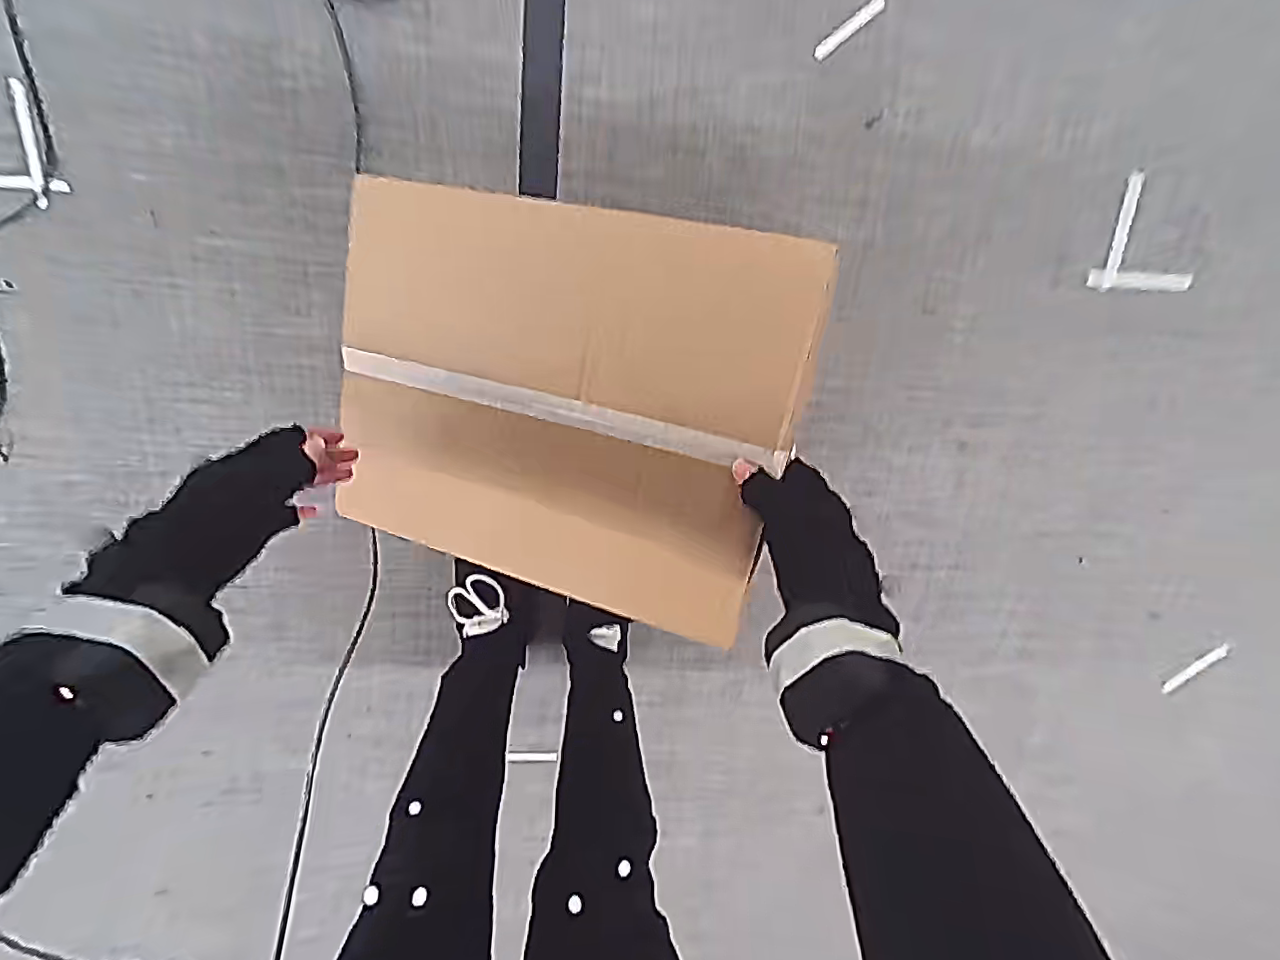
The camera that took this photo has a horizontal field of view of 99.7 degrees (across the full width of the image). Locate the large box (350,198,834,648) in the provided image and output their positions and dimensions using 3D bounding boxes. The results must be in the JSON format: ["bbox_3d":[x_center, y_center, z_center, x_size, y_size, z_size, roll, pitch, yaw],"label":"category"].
[{"bbox_3d":[-0.033,-0.078,0.596,0.408,0.320,0.320,16,104,16],"label":"large box"}]
